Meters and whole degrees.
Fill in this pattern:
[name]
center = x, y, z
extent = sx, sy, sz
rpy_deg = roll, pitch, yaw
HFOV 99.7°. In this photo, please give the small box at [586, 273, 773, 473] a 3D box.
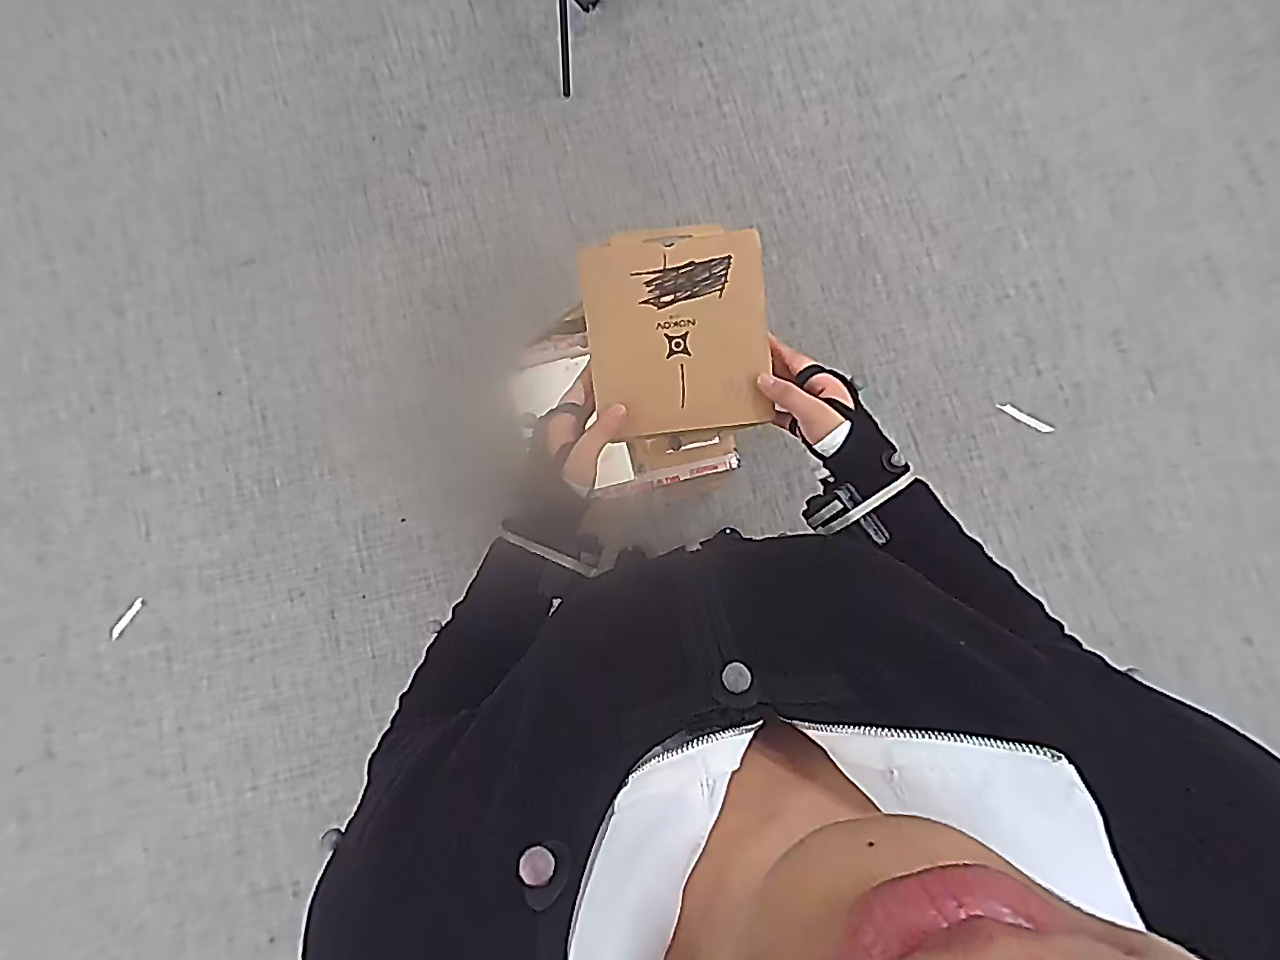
[small box]
center = 0.036, -0.103, 0.584
extent = 0.168, 0.176, 0.179
rpy_deg = -6, 93, 0
